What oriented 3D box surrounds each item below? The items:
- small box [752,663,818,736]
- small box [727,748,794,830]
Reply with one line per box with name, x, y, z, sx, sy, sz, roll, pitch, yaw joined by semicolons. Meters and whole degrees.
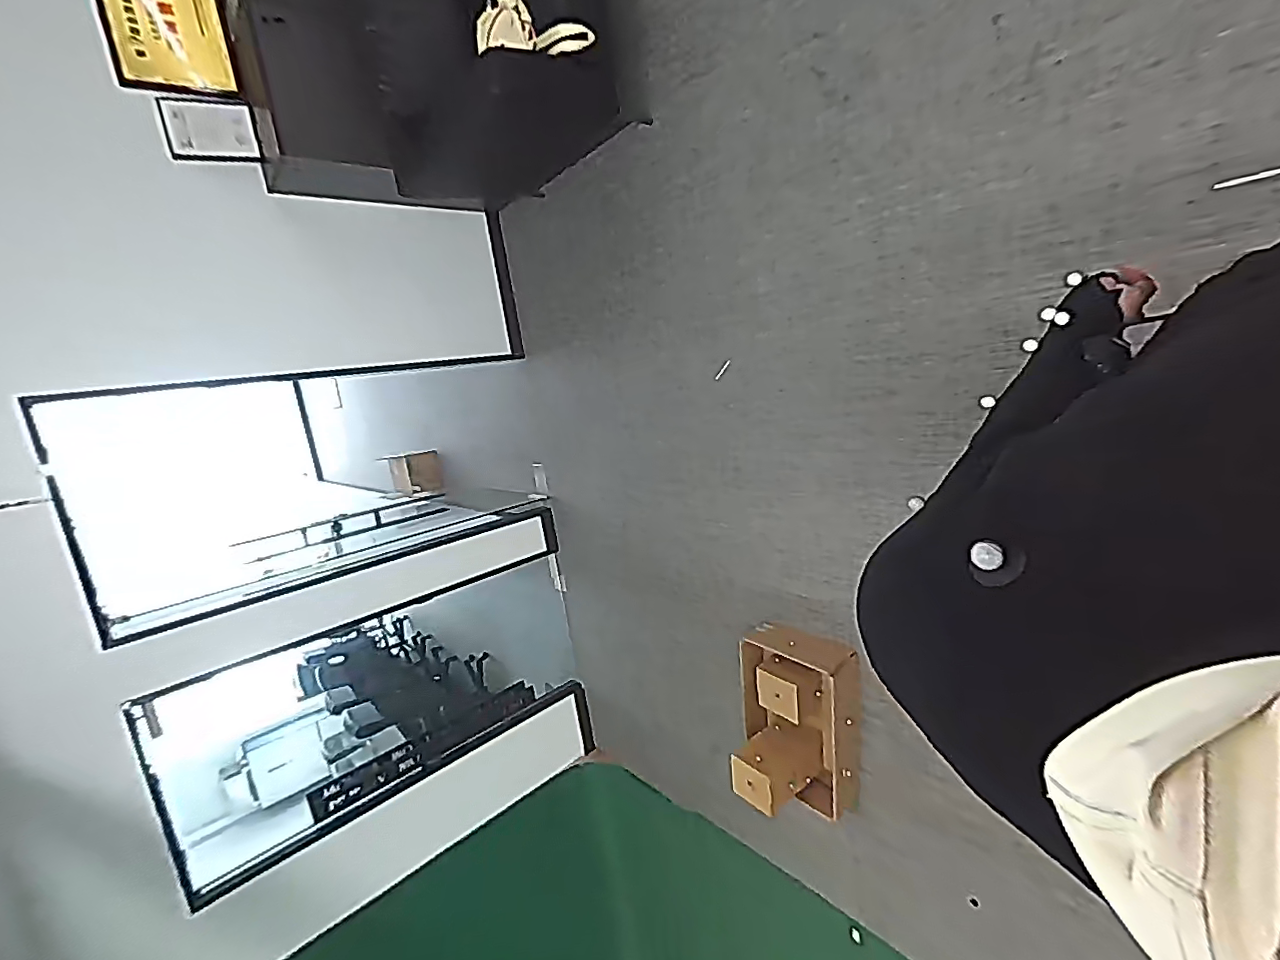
small box;0.540;0.806;2.009;0.179;0.176;0.168;9;110;48
small box;0.438;1.116;1.972;0.179;0.176;0.168;10;108;48
